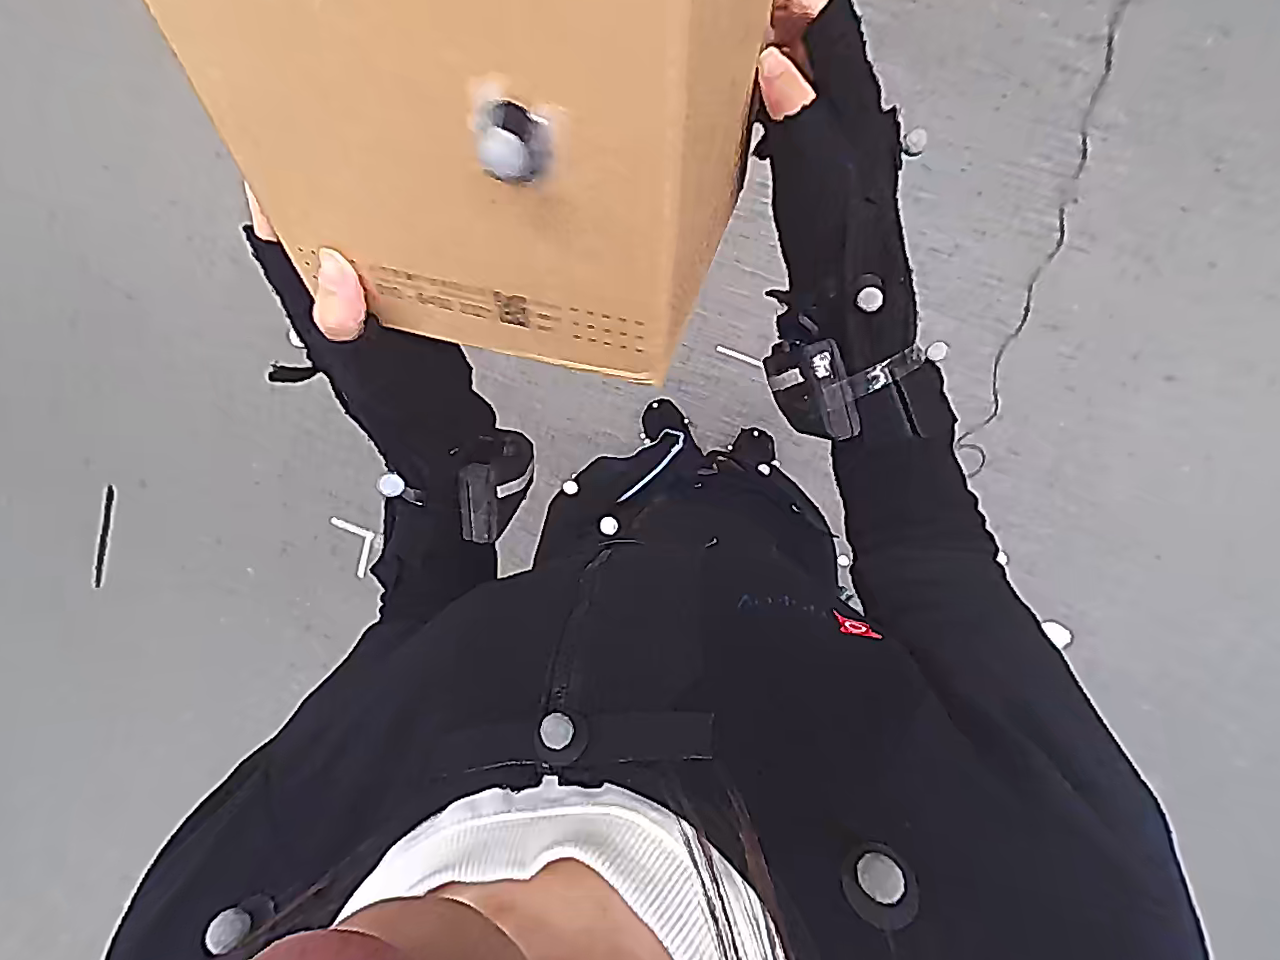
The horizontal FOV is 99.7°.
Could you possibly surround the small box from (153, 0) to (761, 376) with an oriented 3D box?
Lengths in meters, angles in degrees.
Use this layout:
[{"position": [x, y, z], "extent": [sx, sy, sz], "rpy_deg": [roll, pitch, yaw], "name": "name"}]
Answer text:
[{"position": [-0.047, -0.169, 0.221], "extent": [0.168, 0.176, 0.179], "rpy_deg": [16, 56, 12], "name": "small box"}]
